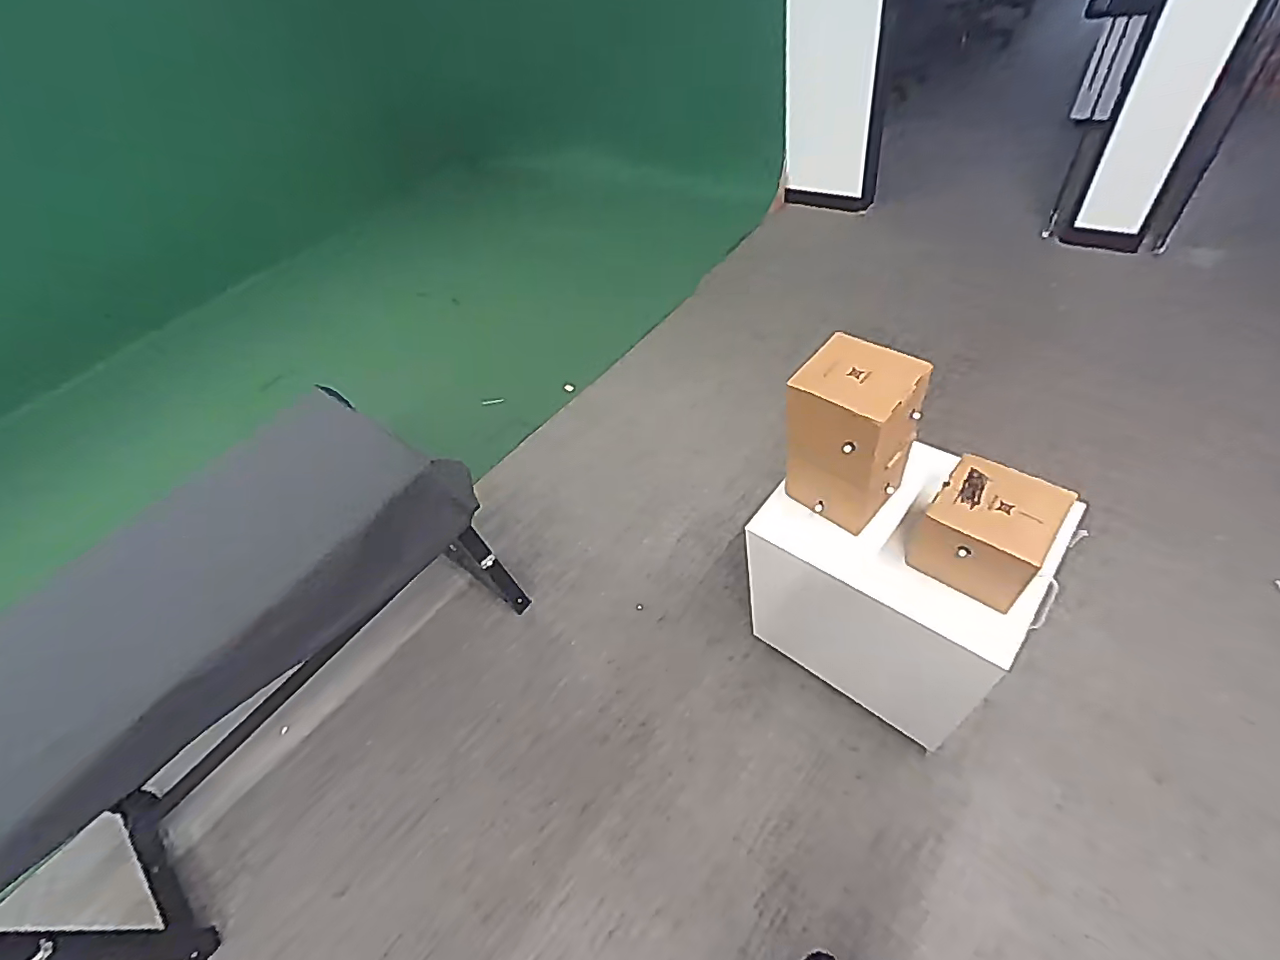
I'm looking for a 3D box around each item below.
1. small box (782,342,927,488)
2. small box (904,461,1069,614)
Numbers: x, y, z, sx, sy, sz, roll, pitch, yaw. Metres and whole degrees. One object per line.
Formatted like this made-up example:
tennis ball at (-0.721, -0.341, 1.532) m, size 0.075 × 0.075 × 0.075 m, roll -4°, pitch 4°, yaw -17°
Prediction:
small box at (0.371, -0.112, 0.962) m, size 0.179 × 0.176 × 0.168 m, roll 30°, pitch 60°, yaw 32°
small box at (0.593, 0.104, 0.948) m, size 0.179 × 0.176 × 0.168 m, roll 29°, pitch 61°, yaw 30°
